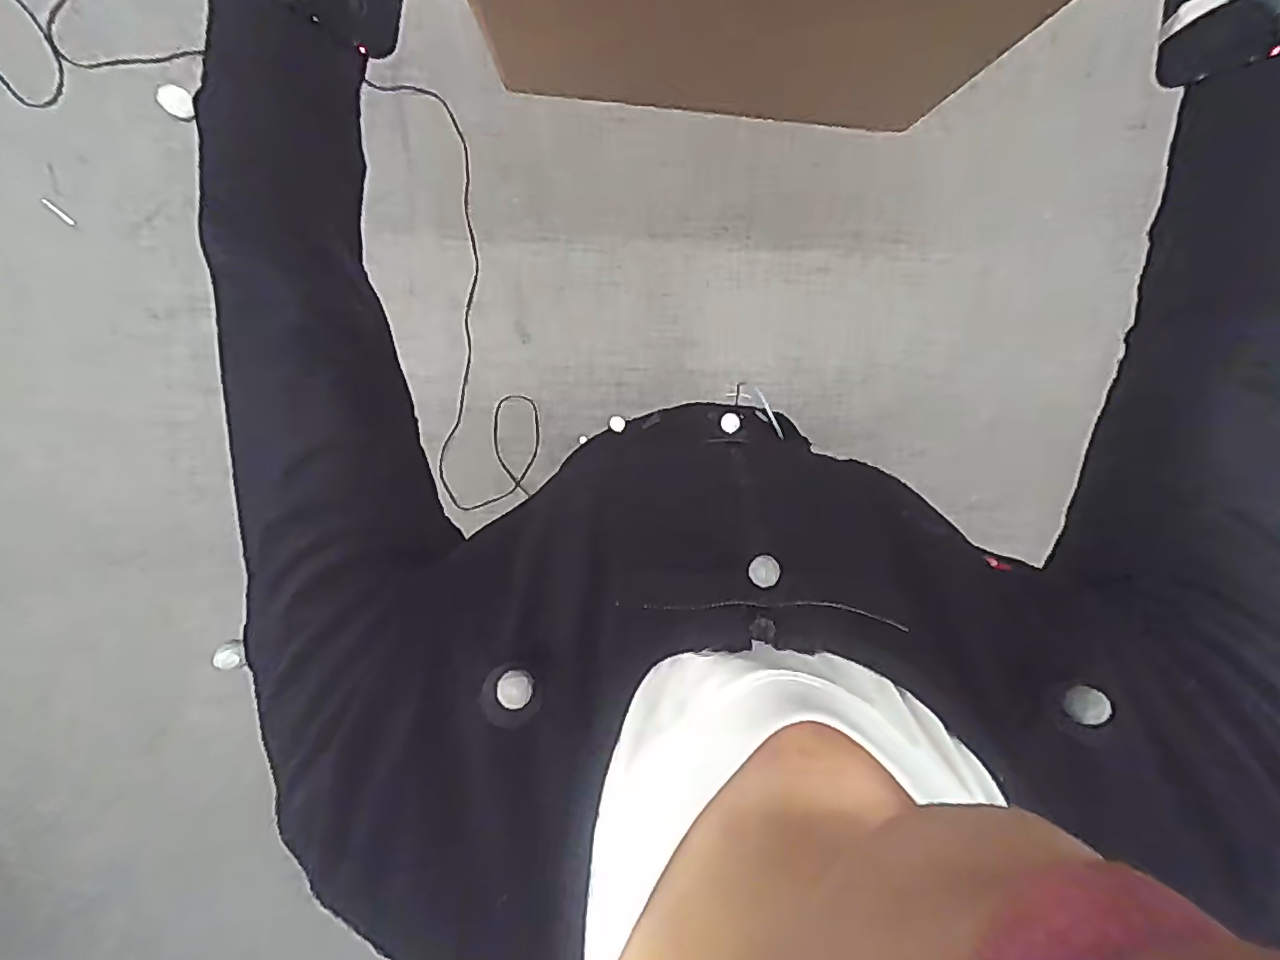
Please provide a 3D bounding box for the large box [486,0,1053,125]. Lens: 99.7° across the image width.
[{"bbox_3d":[0.090,-0.485,0.364,0.408,0.320,0.320,3,103,-4],"label":"large box"}]
